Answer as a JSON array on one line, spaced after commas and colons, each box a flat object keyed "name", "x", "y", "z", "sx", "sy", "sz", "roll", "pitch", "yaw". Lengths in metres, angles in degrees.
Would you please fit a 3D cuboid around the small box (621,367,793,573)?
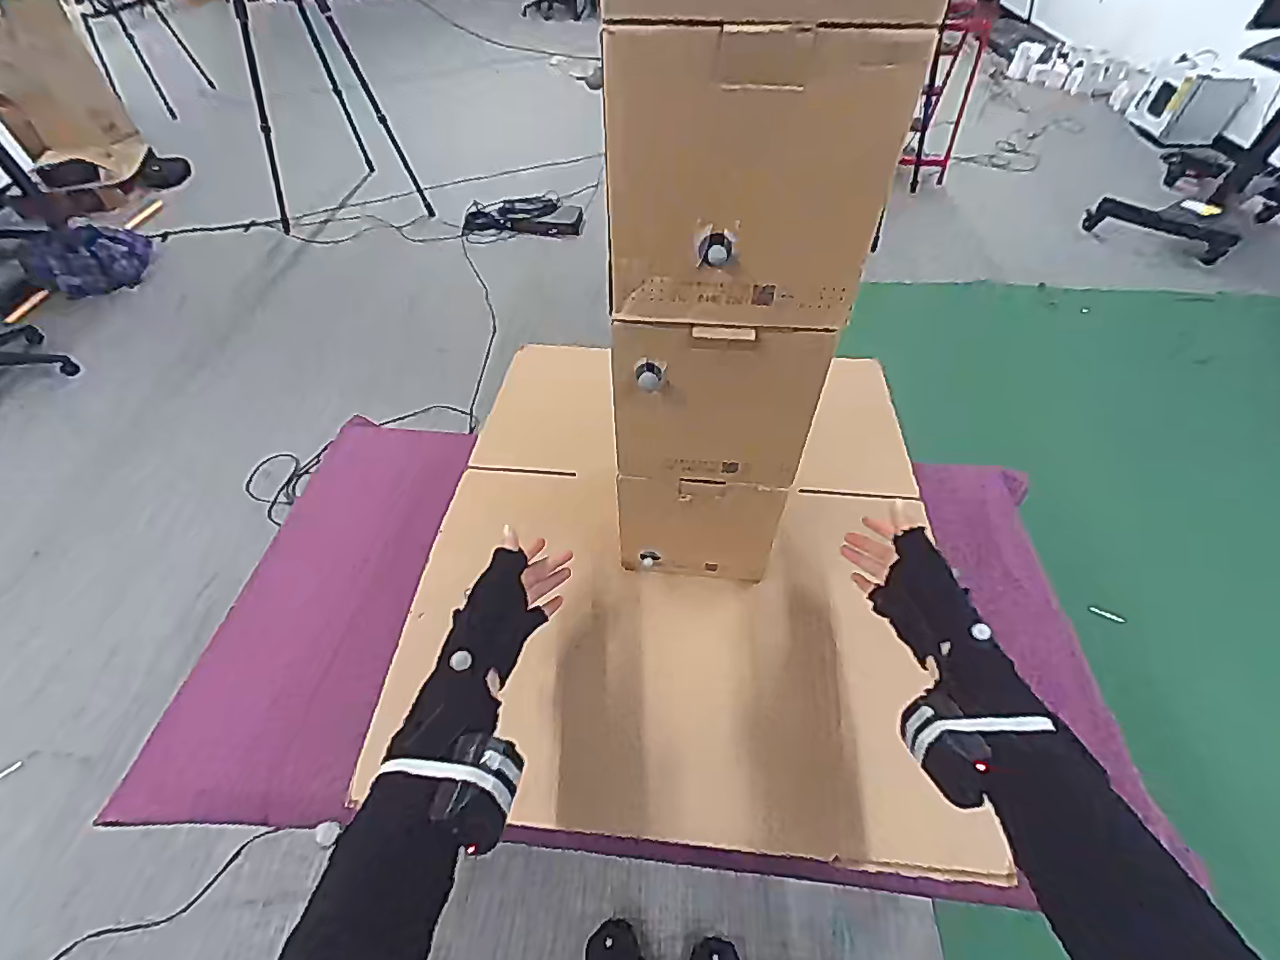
[{"name": "small box", "x": 0.070, "y": -0.008, "z": 0.621, "sx": 0.168, "sy": 0.176, "sz": 0.179, "roll": 2, "pitch": 51, "yaw": 2}]

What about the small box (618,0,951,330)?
[{"name": "small box", "x": 0.074, "y": -0.228, "z": 0.378, "sx": 0.168, "sy": 0.176, "sz": 0.179, "roll": 3, "pitch": 49, "yaw": 2}]
